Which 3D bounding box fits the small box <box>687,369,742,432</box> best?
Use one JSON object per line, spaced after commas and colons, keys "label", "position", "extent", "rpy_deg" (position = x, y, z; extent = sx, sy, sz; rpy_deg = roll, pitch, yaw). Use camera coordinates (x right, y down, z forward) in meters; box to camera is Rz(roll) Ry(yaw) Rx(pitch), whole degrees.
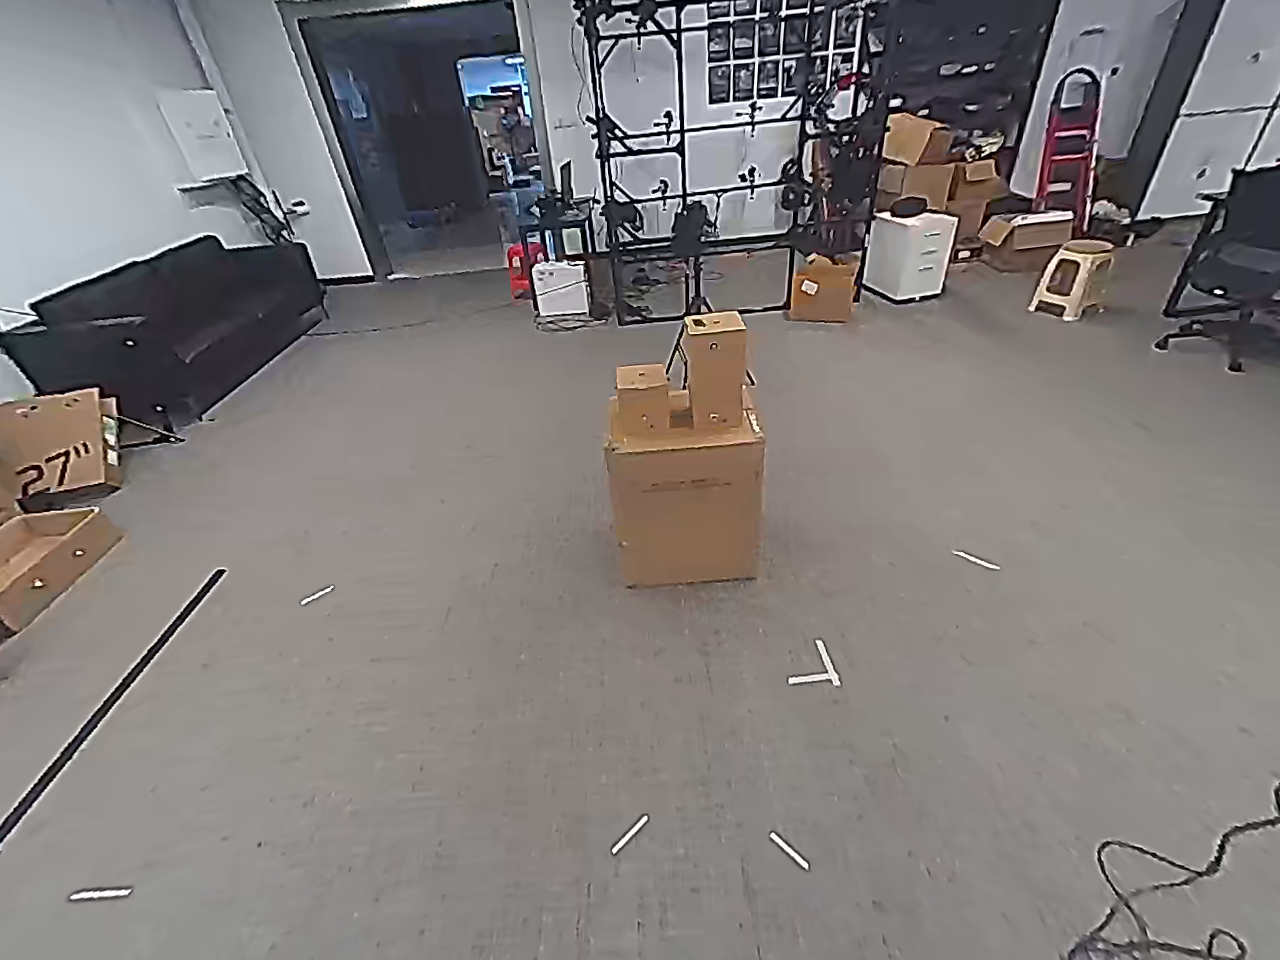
{"label": "small box", "position": [0.251, -0.281, 1.834], "extent": [0.168, 0.176, 0.179], "rpy_deg": [-7, 36, 3]}

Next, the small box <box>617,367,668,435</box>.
{"label": "small box", "position": [0.008, -0.270, 1.852], "extent": [0.168, 0.176, 0.179], "rpy_deg": [-5, 35, 0]}

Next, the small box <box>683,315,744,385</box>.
{"label": "small box", "position": [0.236, -0.414, 1.738], "extent": [0.179, 0.176, 0.168], "rpy_deg": [-6, 36, 3]}
